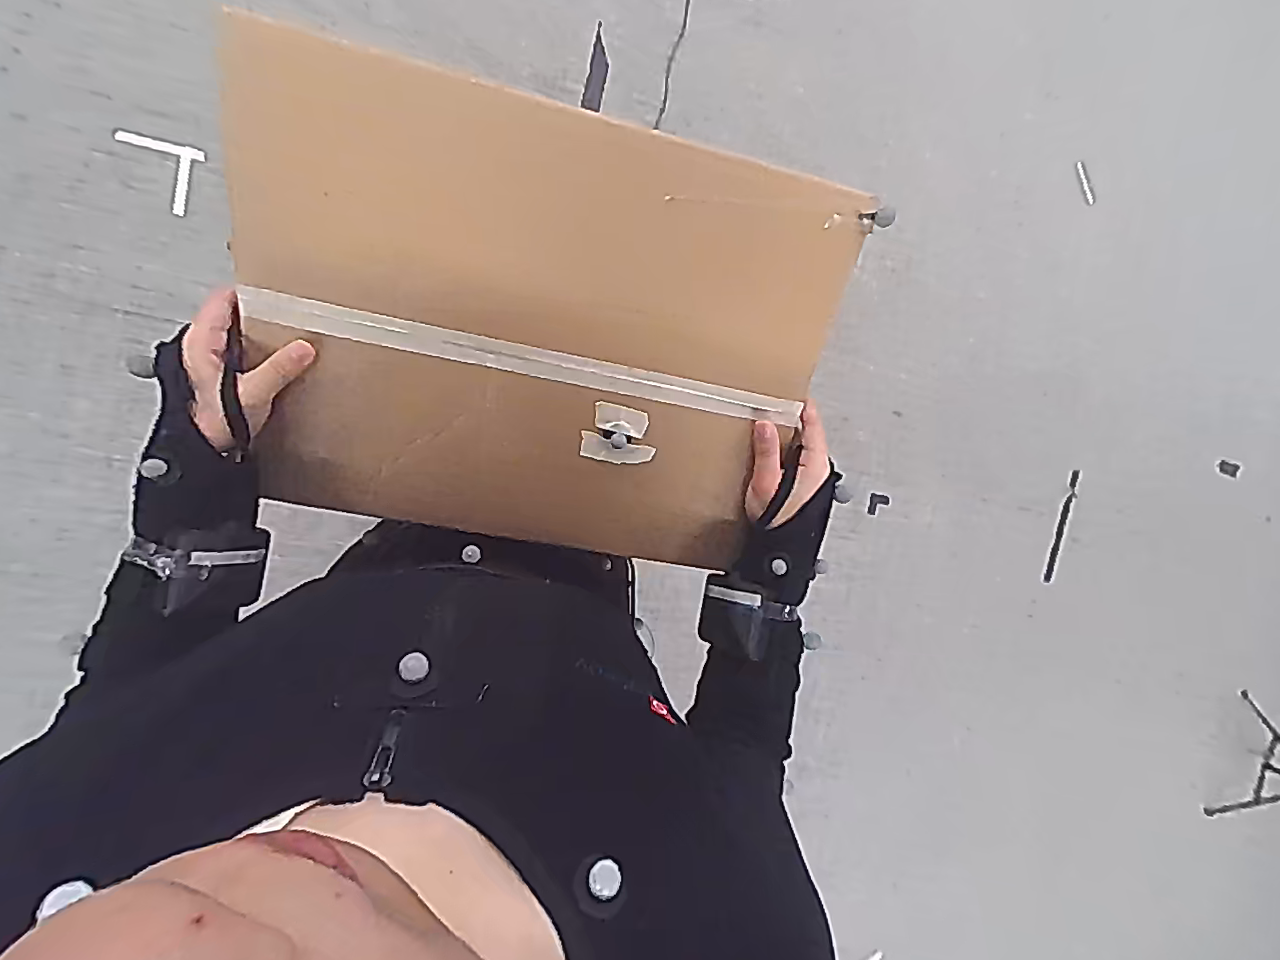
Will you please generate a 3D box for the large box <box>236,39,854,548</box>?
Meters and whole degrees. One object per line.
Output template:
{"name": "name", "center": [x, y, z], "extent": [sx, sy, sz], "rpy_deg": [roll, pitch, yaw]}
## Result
{"name": "large box", "center": [-0.086, -0.162, 0.540], "extent": [0.408, 0.320, 0.320], "rpy_deg": [9, 117, -10]}
